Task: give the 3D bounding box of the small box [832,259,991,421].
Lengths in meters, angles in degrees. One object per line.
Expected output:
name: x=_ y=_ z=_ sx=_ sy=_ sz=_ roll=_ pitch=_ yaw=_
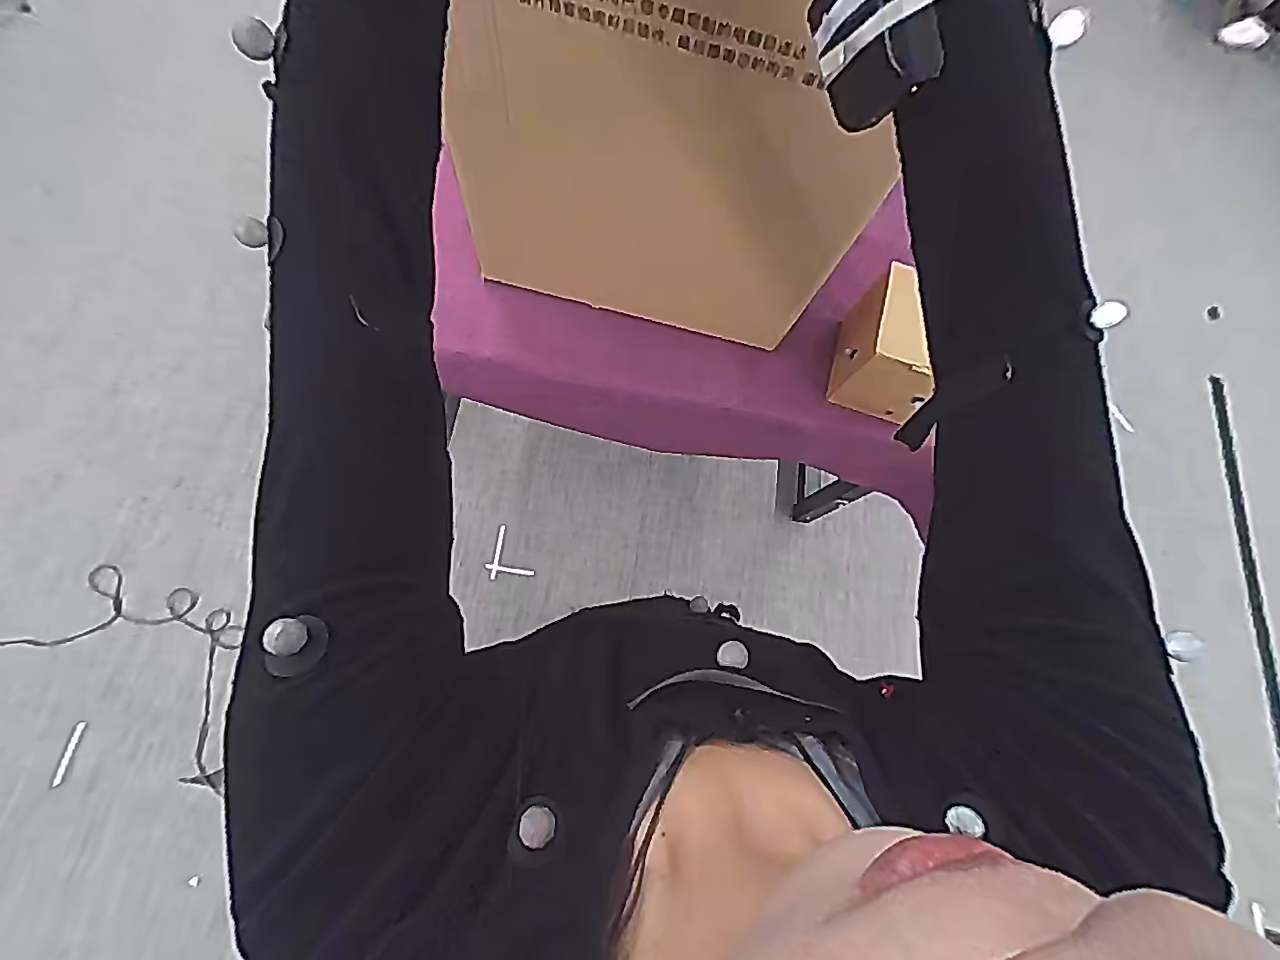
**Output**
small box: x=0.439 y=-0.220 z=0.894 sx=0.168 sy=0.176 sz=0.179 roll=18 pitch=71 yaw=-2
